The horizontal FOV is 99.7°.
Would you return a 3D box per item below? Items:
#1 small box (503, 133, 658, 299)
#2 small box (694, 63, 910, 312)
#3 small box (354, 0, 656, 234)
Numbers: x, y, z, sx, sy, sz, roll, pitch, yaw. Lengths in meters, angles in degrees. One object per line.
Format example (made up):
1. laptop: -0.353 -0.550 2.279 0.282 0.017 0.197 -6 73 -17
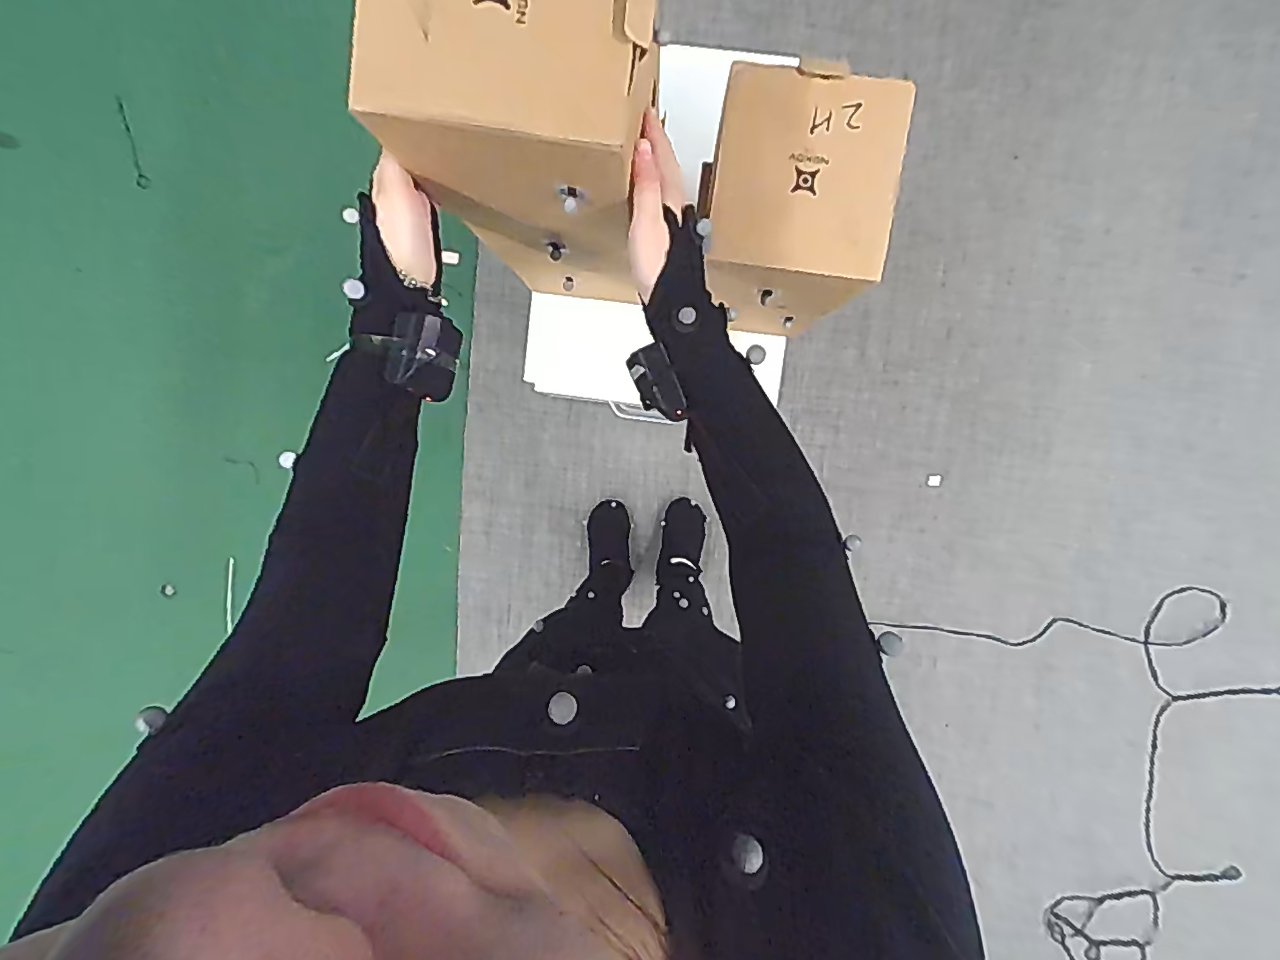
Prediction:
1. small box: -0.072 -0.352 0.735 0.179 0.176 0.168 6 97 -1
2. small box: 0.151 -0.286 0.570 0.168 0.176 0.179 8 96 1
3. small box: -0.082 -0.305 0.410 0.179 0.176 0.168 8 95 0
